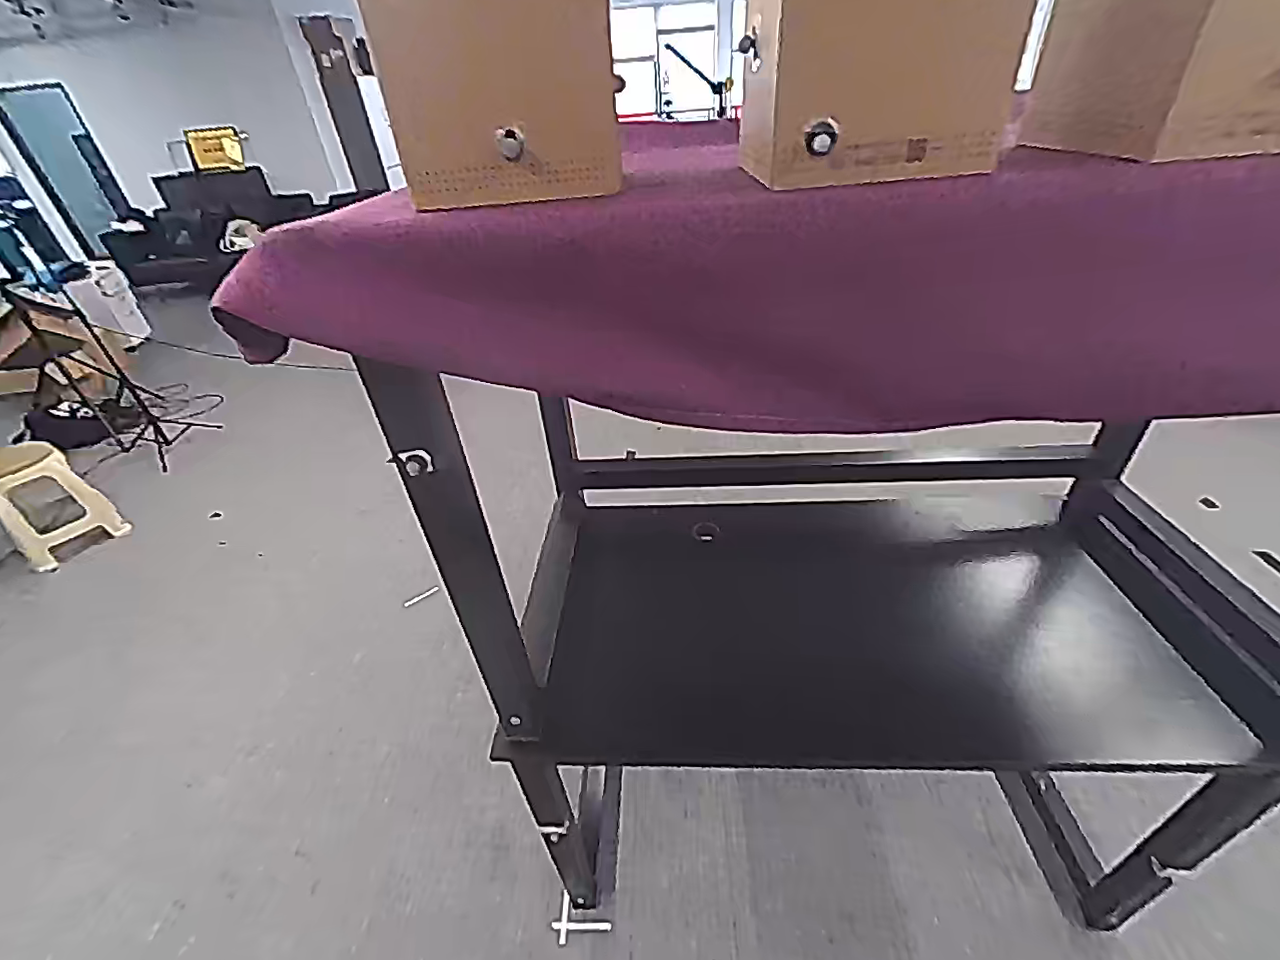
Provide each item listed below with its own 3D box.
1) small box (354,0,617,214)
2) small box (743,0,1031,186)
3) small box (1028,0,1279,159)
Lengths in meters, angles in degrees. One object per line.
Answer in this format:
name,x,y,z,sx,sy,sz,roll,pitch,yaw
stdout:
small box,-0.113,-0.335,0.459,0.179,0.176,0.168,-7,35,-4
small box,0.175,-0.334,0.421,0.168,0.176,0.179,-3,35,3
small box,0.434,-0.342,0.397,0.168,0.176,0.179,-3,35,3
